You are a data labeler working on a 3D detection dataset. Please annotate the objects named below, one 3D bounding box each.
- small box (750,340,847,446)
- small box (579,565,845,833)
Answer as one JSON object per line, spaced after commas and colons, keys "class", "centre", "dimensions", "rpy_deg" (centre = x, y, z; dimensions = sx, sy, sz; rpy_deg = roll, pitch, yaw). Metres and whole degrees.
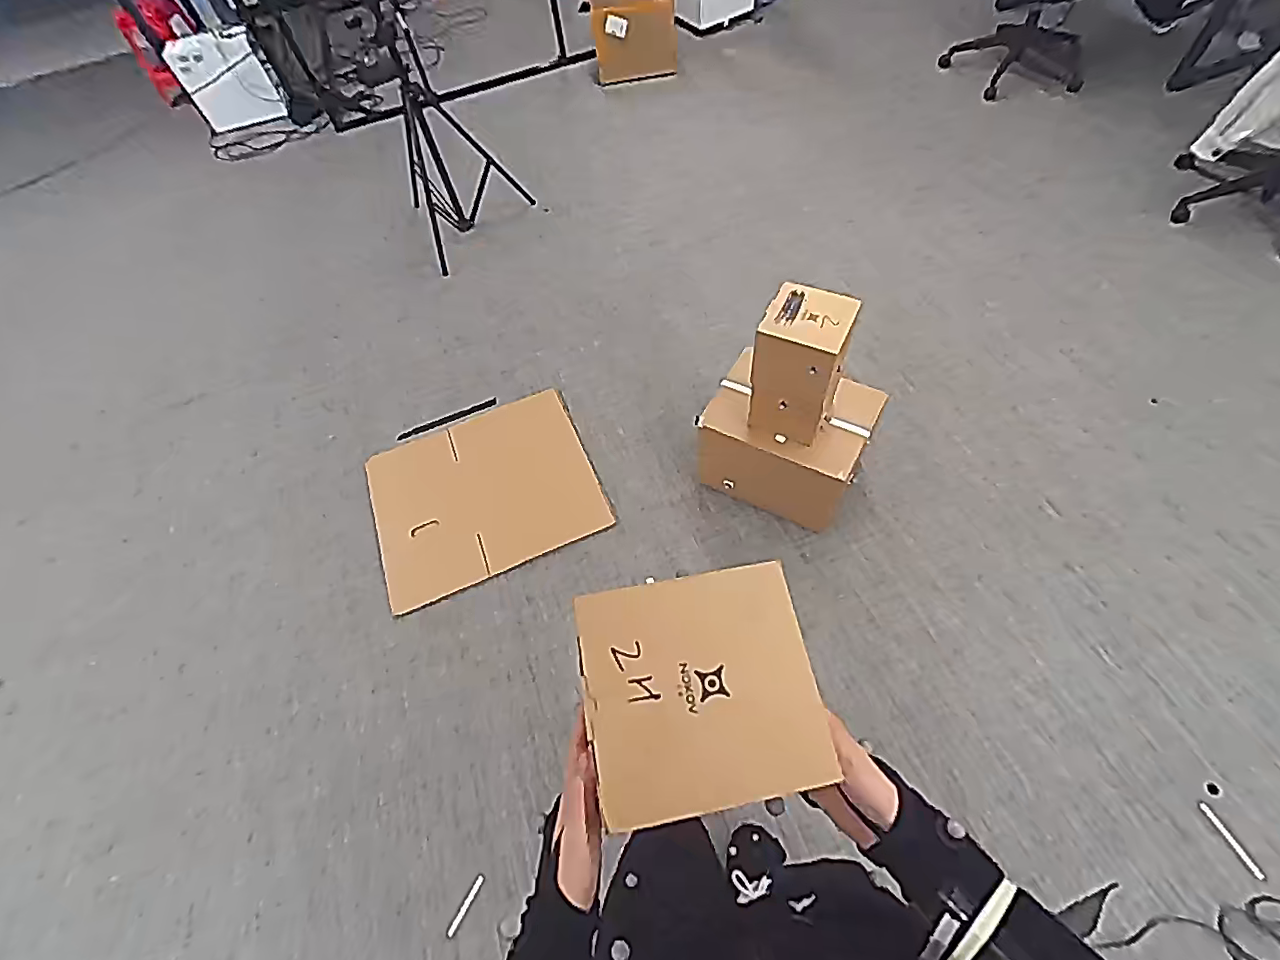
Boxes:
{"class": "small box", "centre": [0.384, -0.211, 1.341], "dimensions": [0.179, 0.176, 0.168], "rpy_deg": [22, 65, 18]}
{"class": "small box", "centre": [0.045, 0.185, 0.478], "dimensions": [0.179, 0.176, 0.168], "rpy_deg": [-9, 66, -6]}
